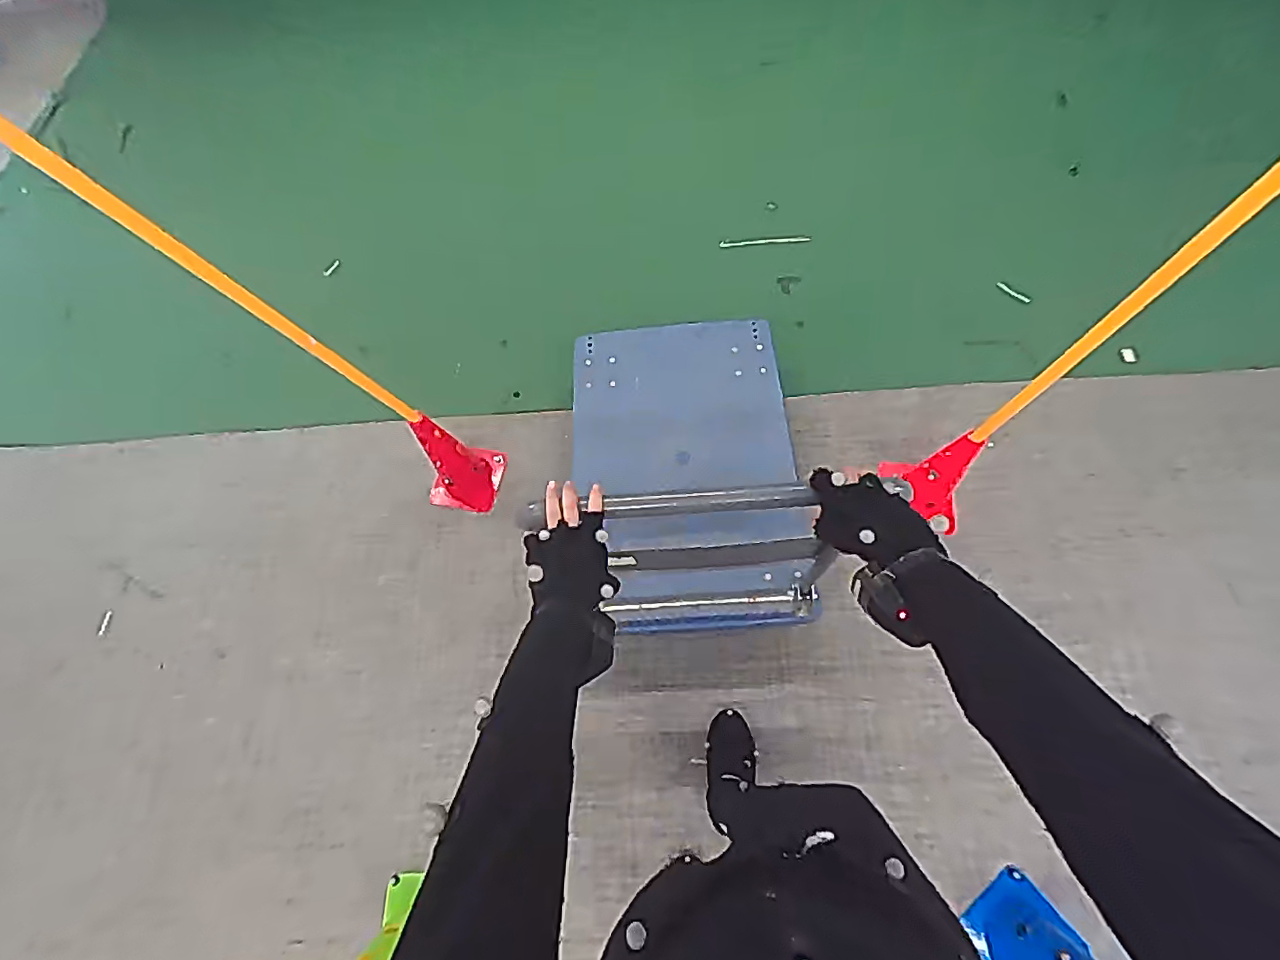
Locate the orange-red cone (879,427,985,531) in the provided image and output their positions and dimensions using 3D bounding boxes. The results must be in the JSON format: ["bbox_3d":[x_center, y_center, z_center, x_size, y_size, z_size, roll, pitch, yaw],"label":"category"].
[{"bbox_3d":[0.749,-0.028,1.335,0.198,0.360,0.199,7,68,9],"label":"orange-red cone"}]
